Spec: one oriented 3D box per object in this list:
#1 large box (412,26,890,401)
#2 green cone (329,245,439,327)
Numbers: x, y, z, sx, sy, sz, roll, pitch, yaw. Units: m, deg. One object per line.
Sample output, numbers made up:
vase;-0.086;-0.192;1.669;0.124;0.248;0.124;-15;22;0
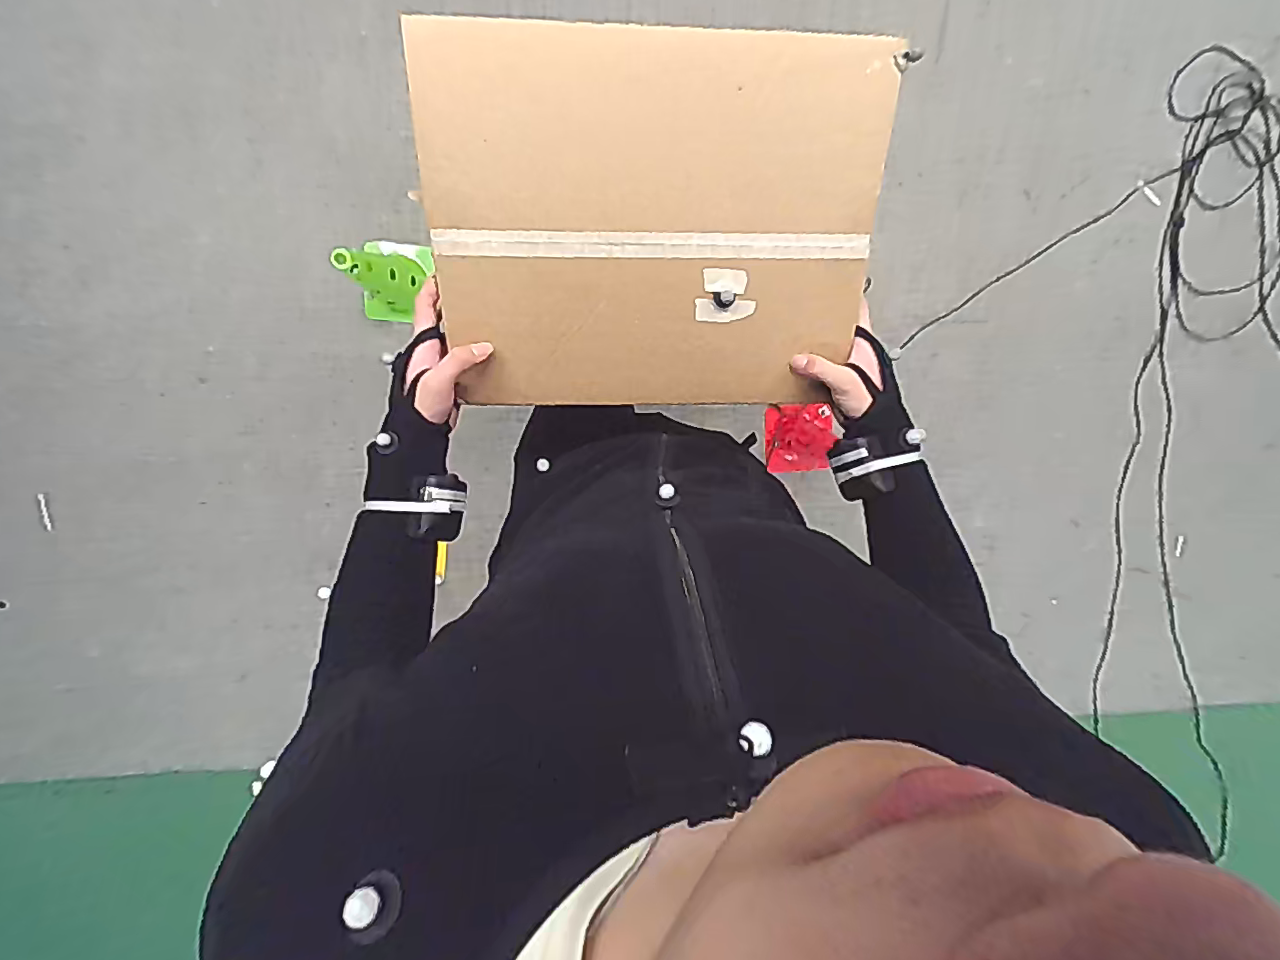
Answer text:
large box;0.002;-0.293;0.639;0.408;0.320;0.320;-2;118;-4
green cone;-0.635;-0.480;1.287;0.200;0.368;0.202;3;103;-4
